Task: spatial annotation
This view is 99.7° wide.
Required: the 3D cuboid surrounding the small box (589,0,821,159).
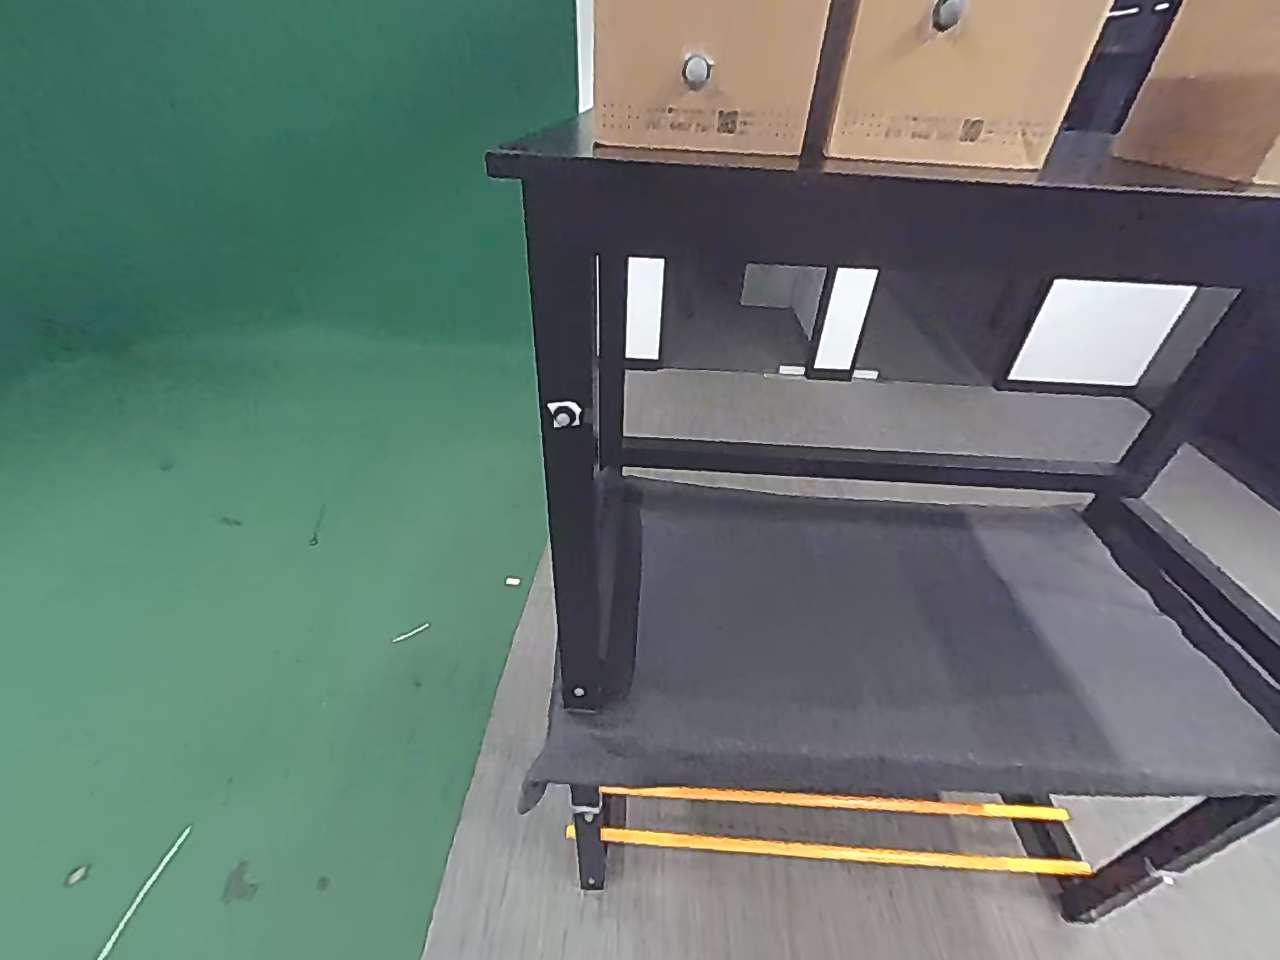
[{"bbox_3d":[0.047,-0.378,0.447,0.168,0.176,0.179,3,37,0],"label":"small box"}]
